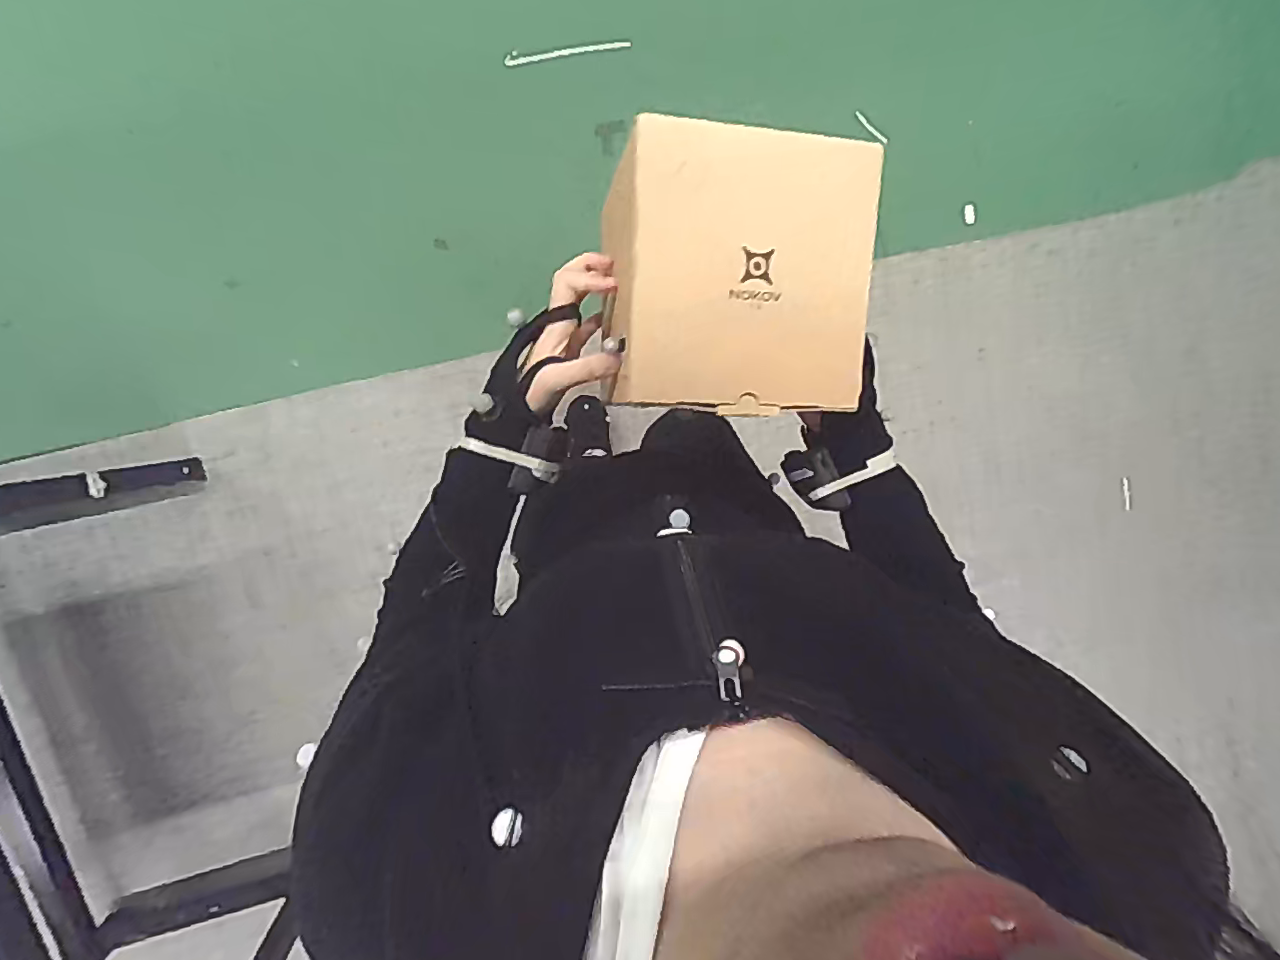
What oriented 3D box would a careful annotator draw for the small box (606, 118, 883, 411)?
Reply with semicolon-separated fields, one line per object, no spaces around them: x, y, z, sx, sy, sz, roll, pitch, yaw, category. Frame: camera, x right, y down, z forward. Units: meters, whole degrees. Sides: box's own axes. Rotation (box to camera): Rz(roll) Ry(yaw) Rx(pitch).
0.065;-0.148;0.436;0.168;0.176;0.179;0;99;-11;small box
